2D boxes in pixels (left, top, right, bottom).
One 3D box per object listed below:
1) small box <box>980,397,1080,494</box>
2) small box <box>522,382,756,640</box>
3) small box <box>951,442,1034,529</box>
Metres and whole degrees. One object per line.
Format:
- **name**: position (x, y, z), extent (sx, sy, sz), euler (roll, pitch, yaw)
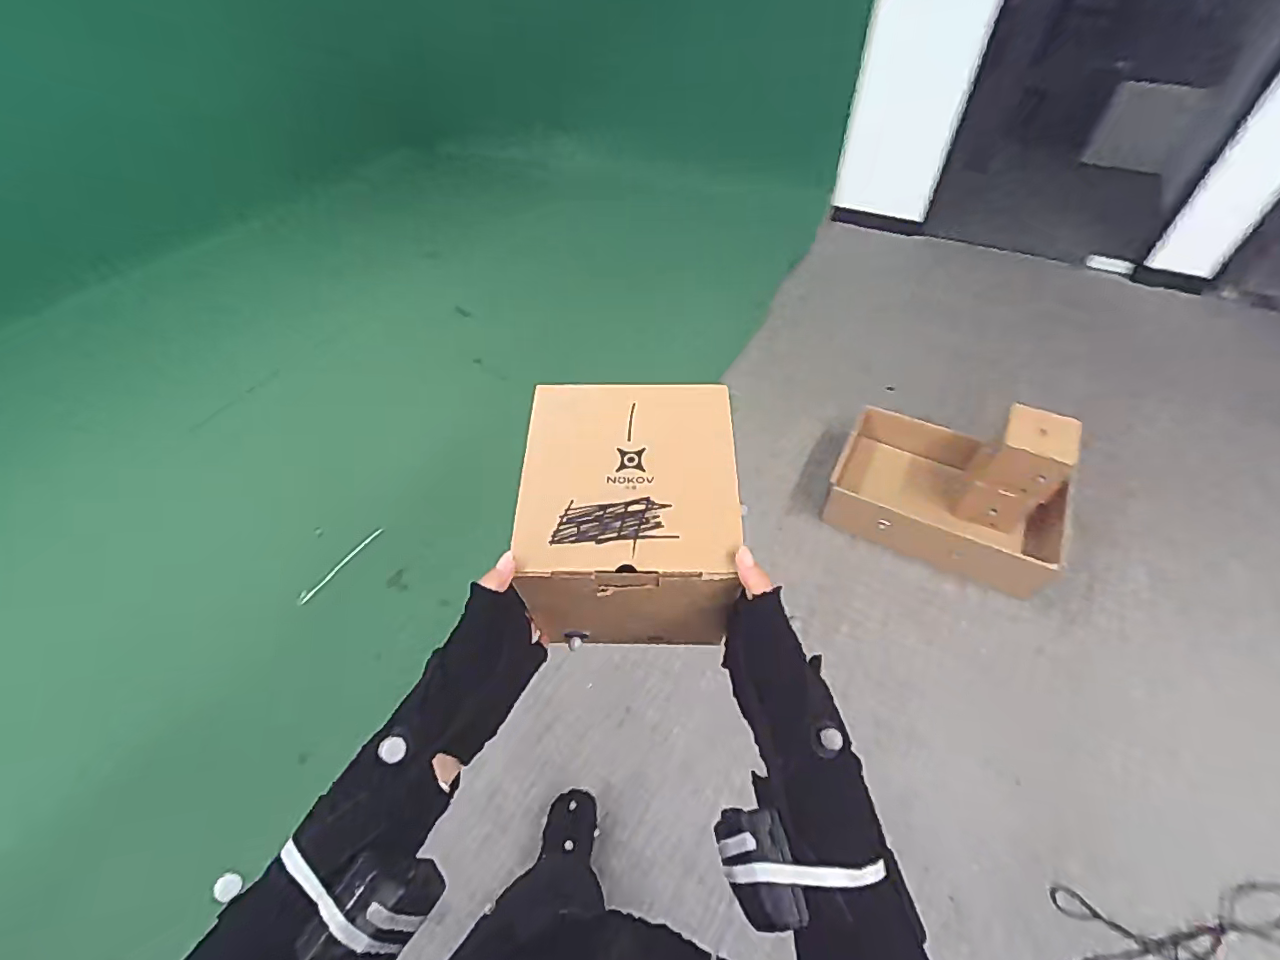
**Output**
- **small box**: position (1.064, -0.091, 1.485), extent (0.168, 0.176, 0.179), euler (22, 56, 21)
- **small box**: position (0.004, 0.034, 0.481), extent (0.168, 0.176, 0.179), euler (2, 57, 1)
- **small box**: position (1.061, 0.020, 1.630), extent (0.168, 0.176, 0.179), euler (18, 54, 19)
